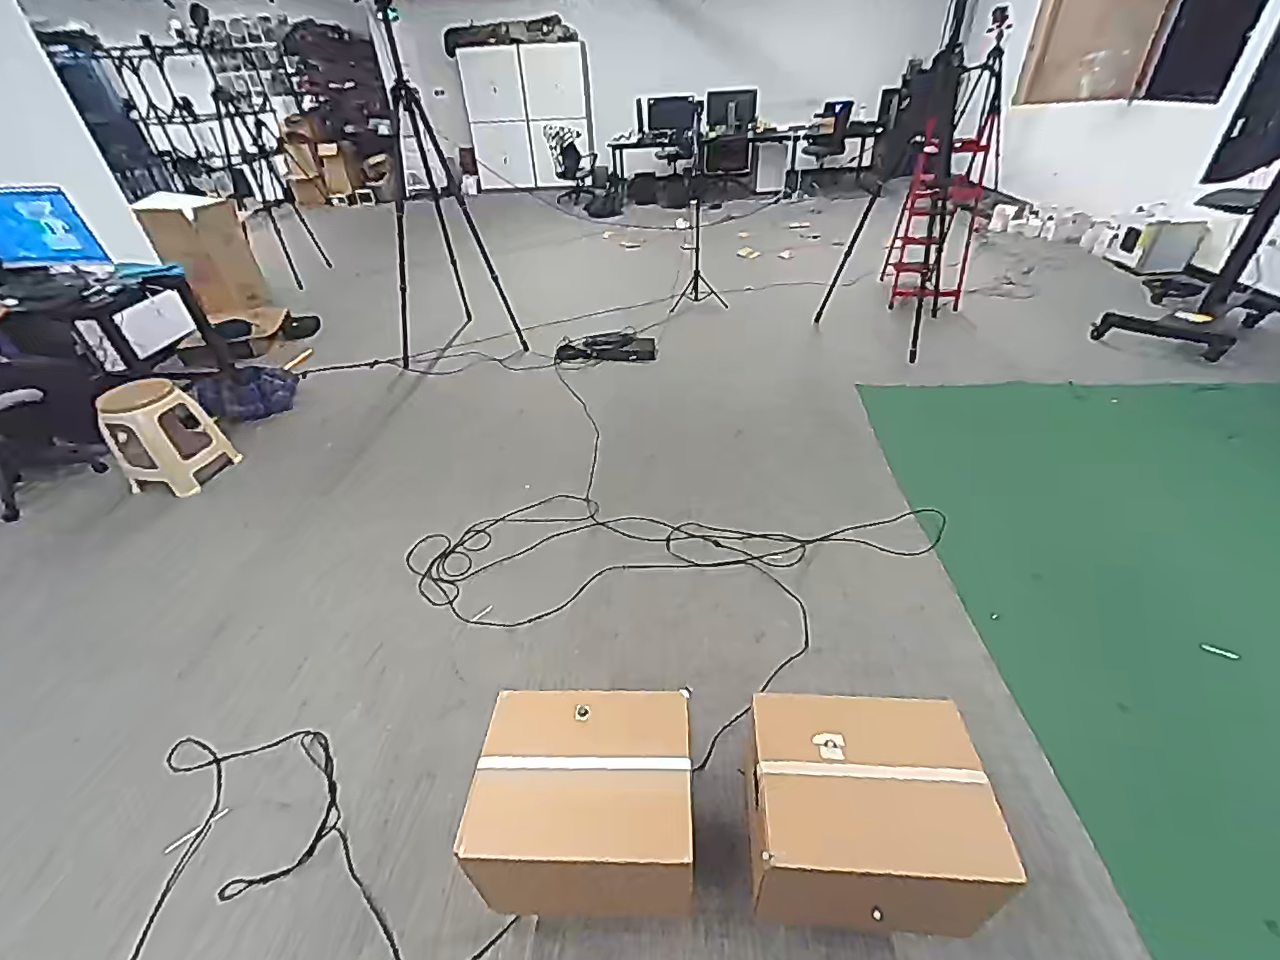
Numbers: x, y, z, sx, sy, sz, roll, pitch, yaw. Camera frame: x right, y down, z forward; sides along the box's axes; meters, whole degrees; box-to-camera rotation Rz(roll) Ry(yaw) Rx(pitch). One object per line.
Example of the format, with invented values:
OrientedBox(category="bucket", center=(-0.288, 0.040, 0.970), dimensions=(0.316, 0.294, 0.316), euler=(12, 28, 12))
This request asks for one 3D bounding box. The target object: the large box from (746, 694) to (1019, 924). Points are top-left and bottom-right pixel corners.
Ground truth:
OrientedBox(category="large box", center=(0.436, 0.658, 1.093), dimensions=(0.408, 0.320, 0.320), euler=(0, 37, 6))
